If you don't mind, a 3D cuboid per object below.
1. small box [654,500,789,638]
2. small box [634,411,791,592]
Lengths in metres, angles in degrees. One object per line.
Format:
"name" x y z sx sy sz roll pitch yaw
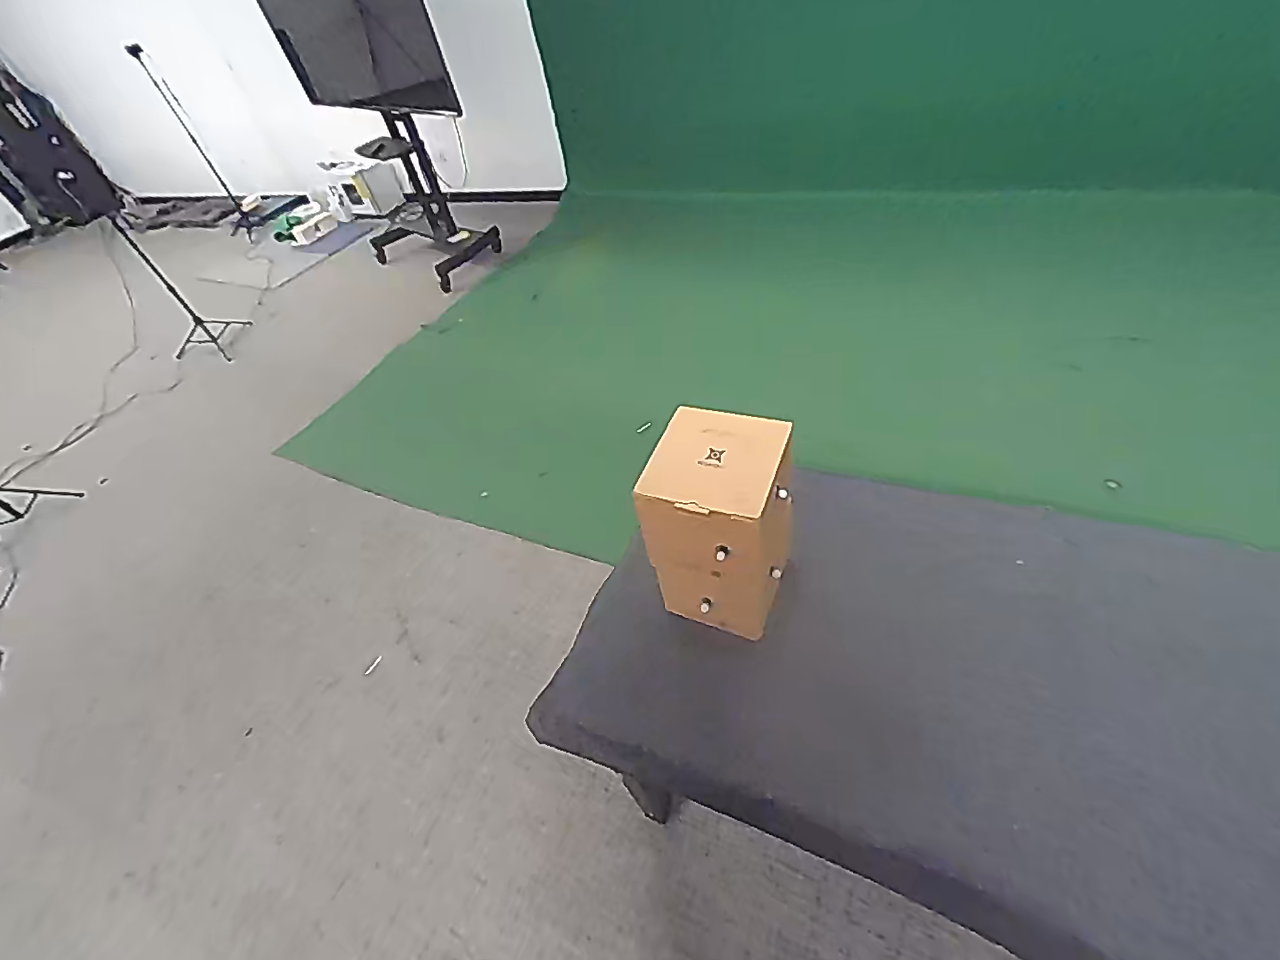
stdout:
"small box" 0.141 0.131 0.889 0.168 0.176 0.179 14 52 23
"small box" 0.110 0.031 0.763 0.168 0.176 0.179 12 50 21
